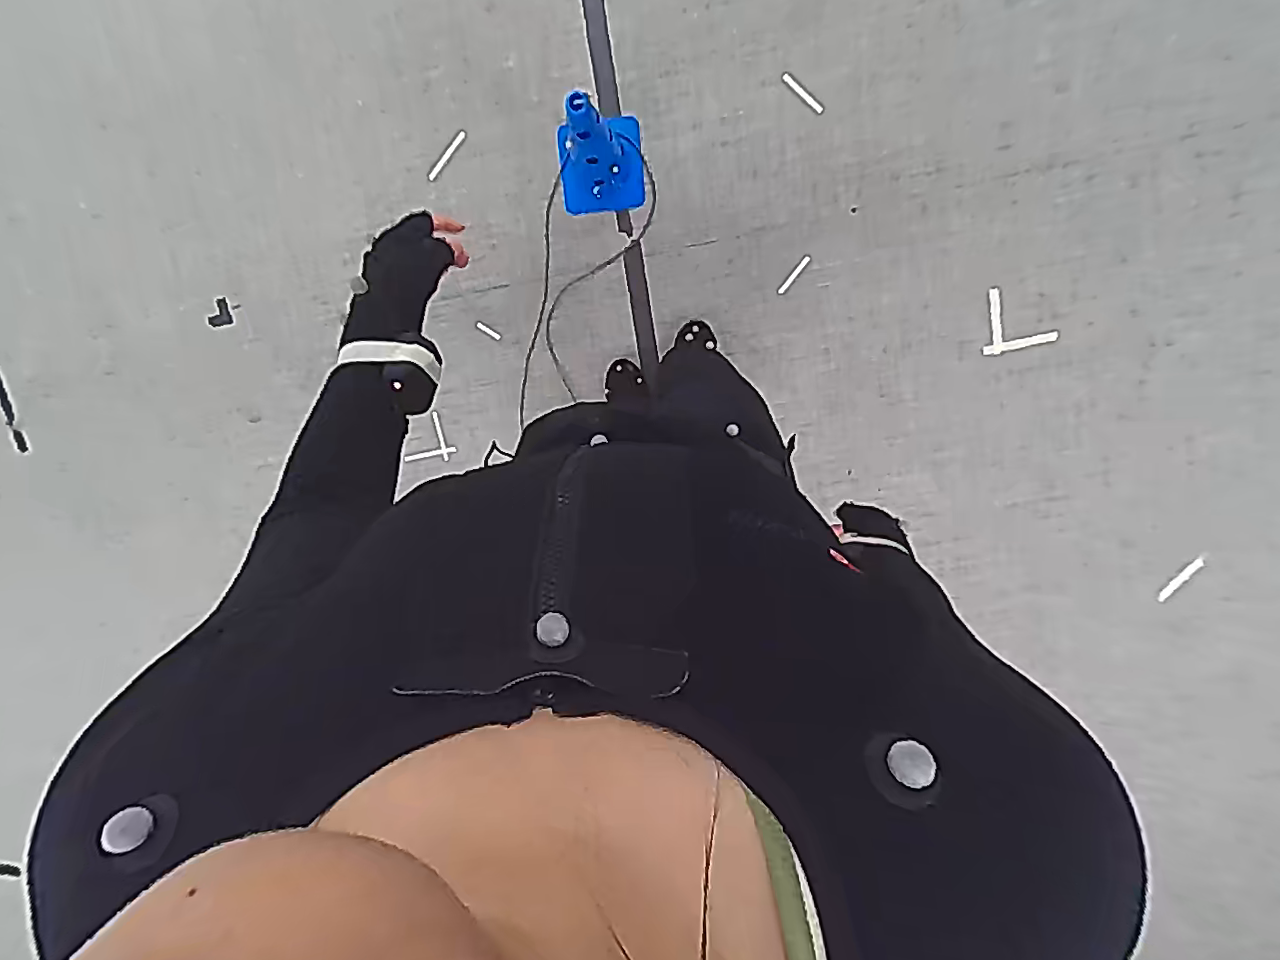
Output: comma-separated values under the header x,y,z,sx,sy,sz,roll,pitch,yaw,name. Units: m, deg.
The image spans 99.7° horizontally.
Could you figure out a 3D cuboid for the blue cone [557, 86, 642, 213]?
x,y,z,sx,sy,sz,roll,pitch,yaw,name
-0.106,-0.706,1.128,0.193,0.380,0.192,-6,103,6,blue cone
